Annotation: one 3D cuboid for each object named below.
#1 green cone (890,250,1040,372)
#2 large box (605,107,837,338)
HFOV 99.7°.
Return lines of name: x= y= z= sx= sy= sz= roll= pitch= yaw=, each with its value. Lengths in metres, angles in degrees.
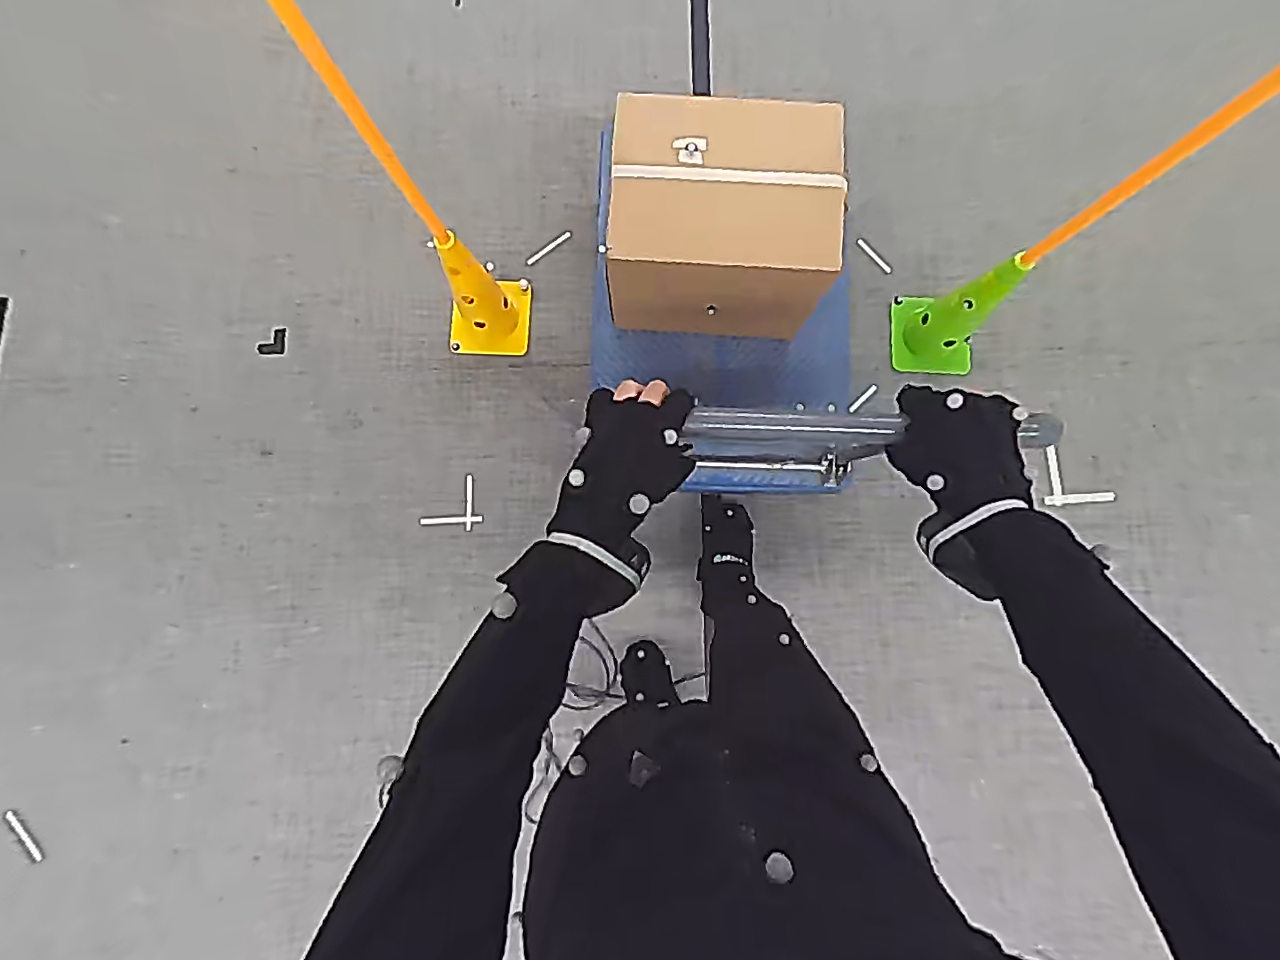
green cone: x=0.748 y=-0.400 z=1.223 sx=0.202 sy=0.368 sz=0.200 roll=3 pitch=82 yaw=-1
large box: x=0.149 y=-0.492 z=1.094 sx=0.408 sy=0.320 sz=0.320 roll=3 pitch=83 yaw=1
